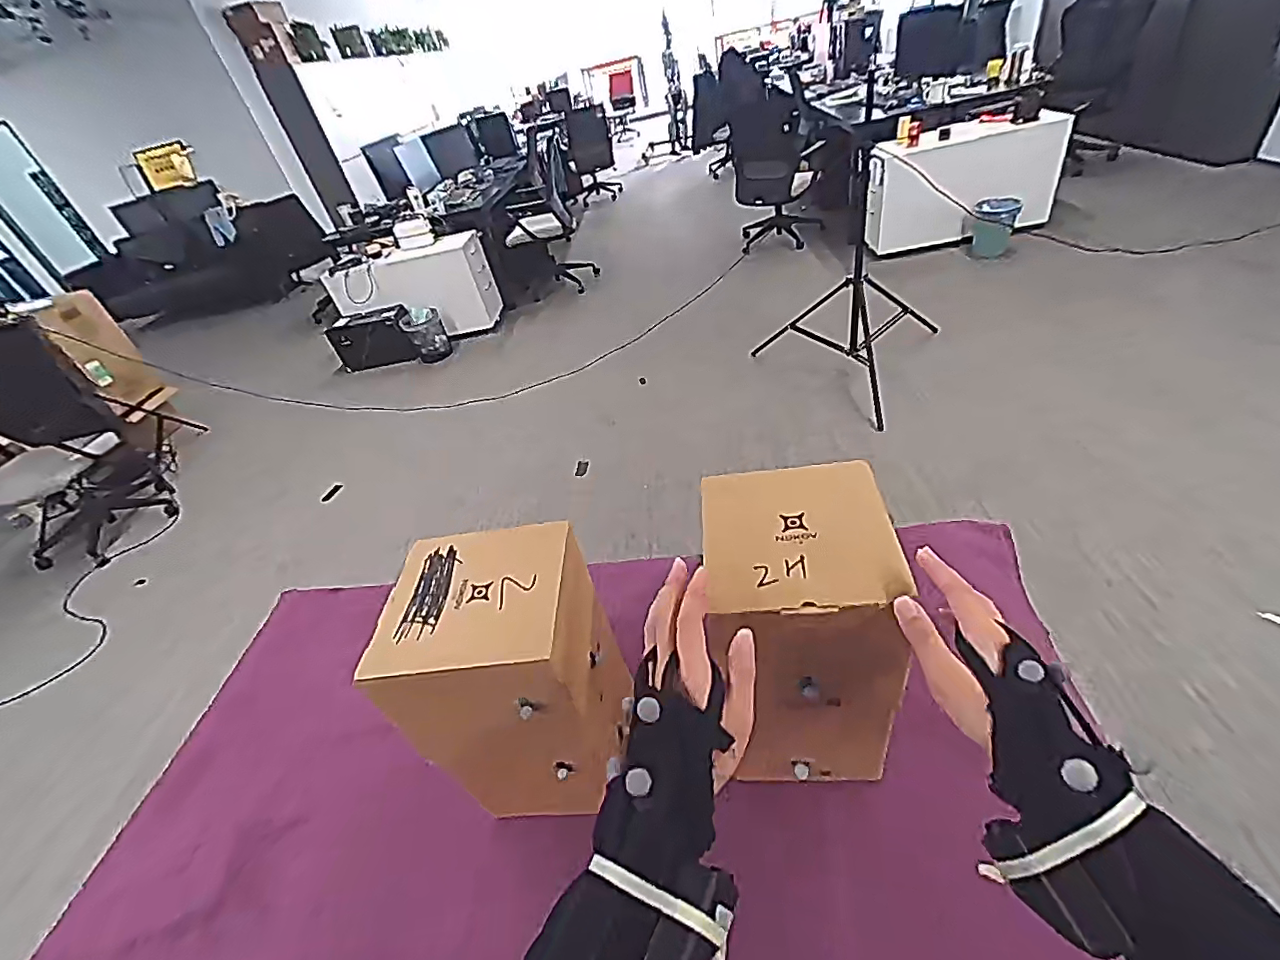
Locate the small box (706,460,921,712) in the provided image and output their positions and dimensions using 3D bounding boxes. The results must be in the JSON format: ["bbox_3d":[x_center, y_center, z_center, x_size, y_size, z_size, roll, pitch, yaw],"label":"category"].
[{"bbox_3d":[0.156,0.105,0.534,0.168,0.176,0.179,-7,40,11],"label":"small box"}]

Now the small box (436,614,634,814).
[{"bbox_3d":[-0.112,0.288,0.662,0.179,0.176,0.168,-8,39,8],"label":"small box"}]

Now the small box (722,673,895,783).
[{"bbox_3d":[0.185,0.230,0.638,0.168,0.176,0.179,-6,40,11],"label":"small box"}]
